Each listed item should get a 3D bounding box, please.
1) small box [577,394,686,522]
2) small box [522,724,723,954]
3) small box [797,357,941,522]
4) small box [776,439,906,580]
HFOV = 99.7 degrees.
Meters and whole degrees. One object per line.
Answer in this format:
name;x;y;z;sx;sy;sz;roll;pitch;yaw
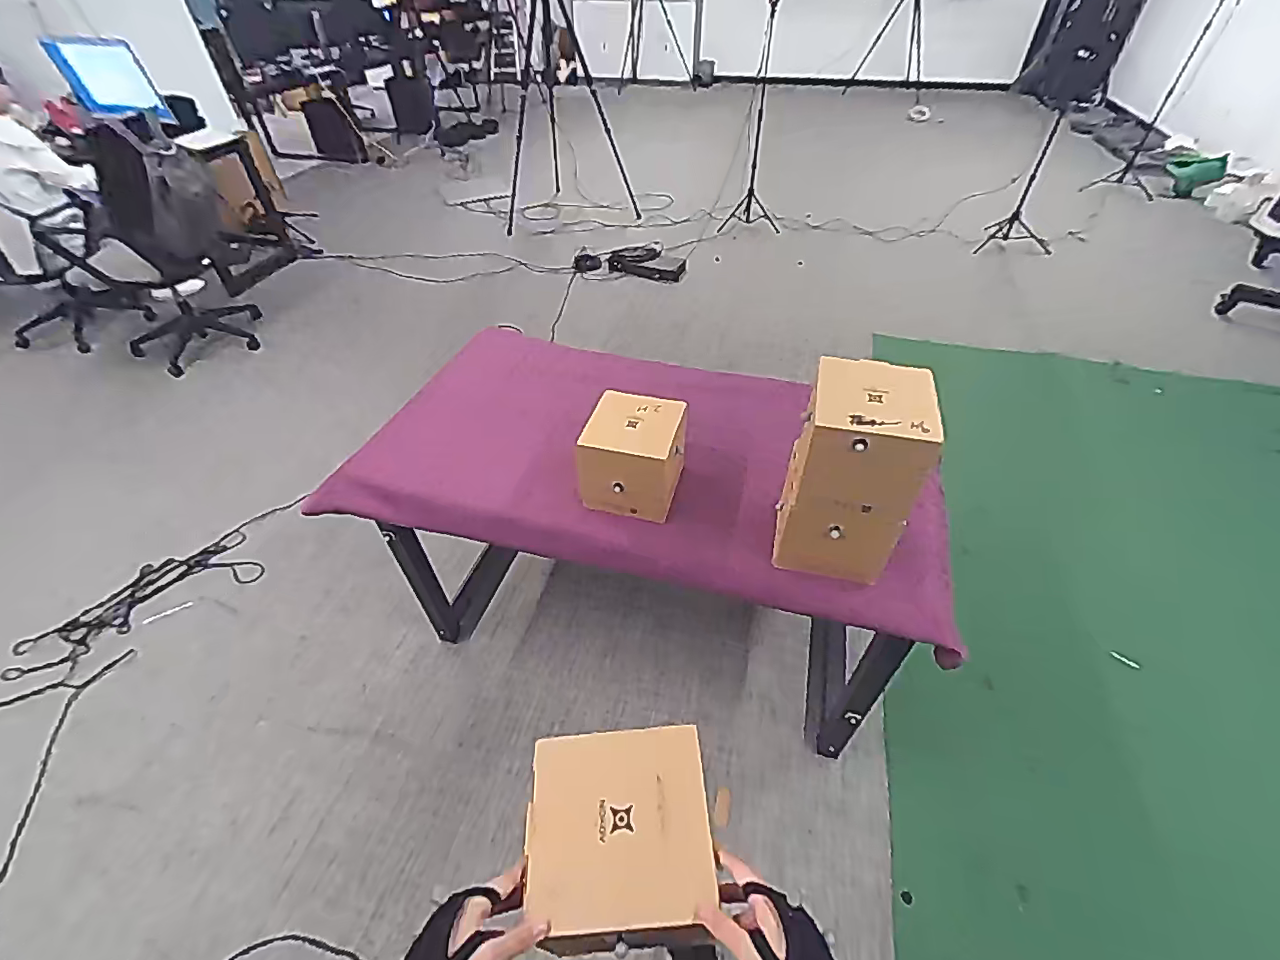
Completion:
small box;-0.008;-0.042;1.054;0.168;0.176;0.179;10;45;12
small box;-0.011;0.384;0.576;0.179;0.176;0.168;-7;44;2
small box;0.338;-0.064;0.828;0.168;0.176;0.179;8;46;14
small box;0.342;0.053;0.942;0.179;0.176;0.168;8;47;12
